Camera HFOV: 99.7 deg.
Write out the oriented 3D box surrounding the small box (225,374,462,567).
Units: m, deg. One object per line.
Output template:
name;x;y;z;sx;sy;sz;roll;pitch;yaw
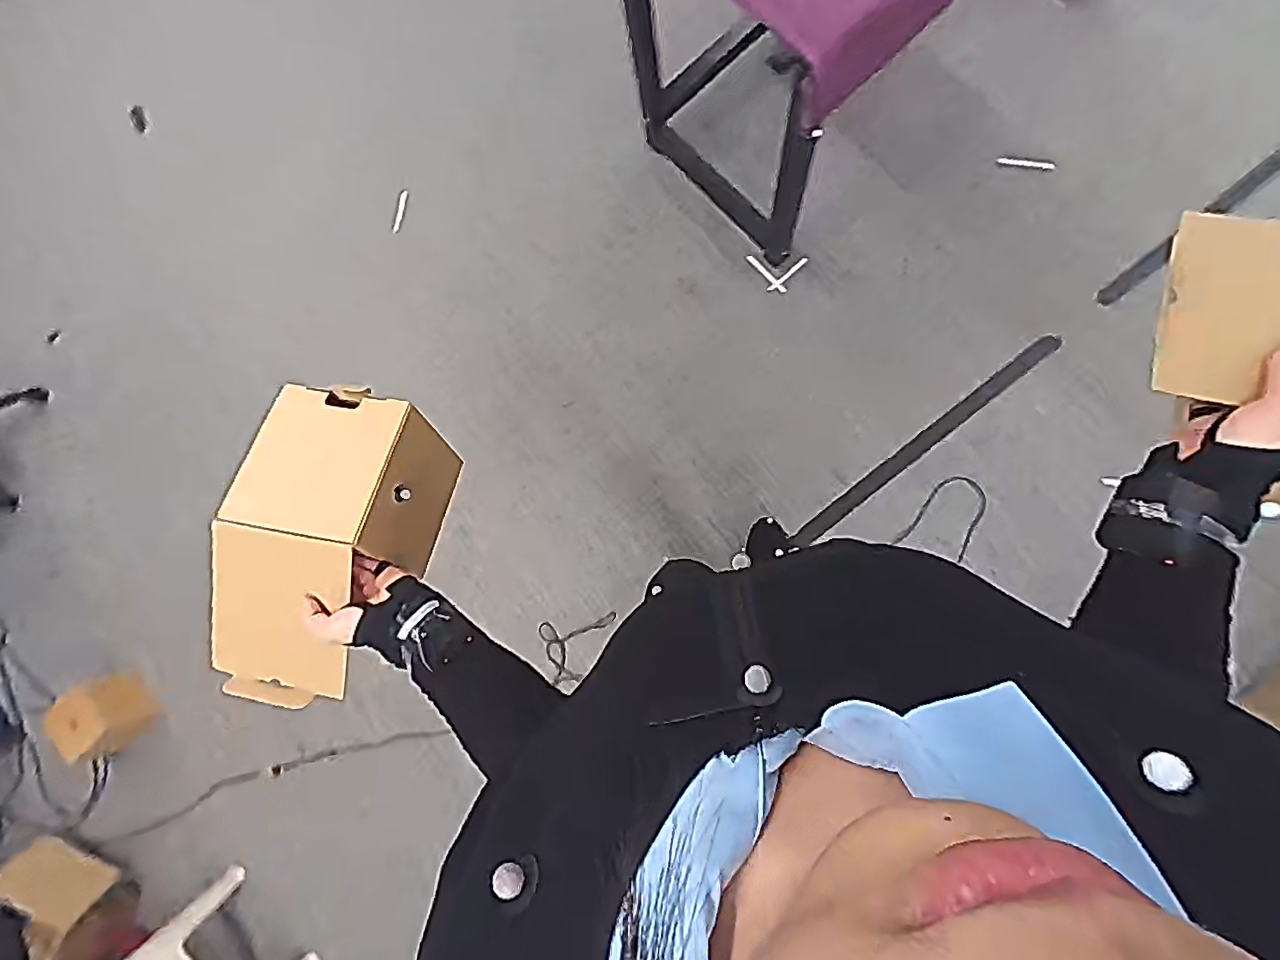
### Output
small box;-0.346;-0.003;0.674;0.168;0.176;0.179;11;68;8
